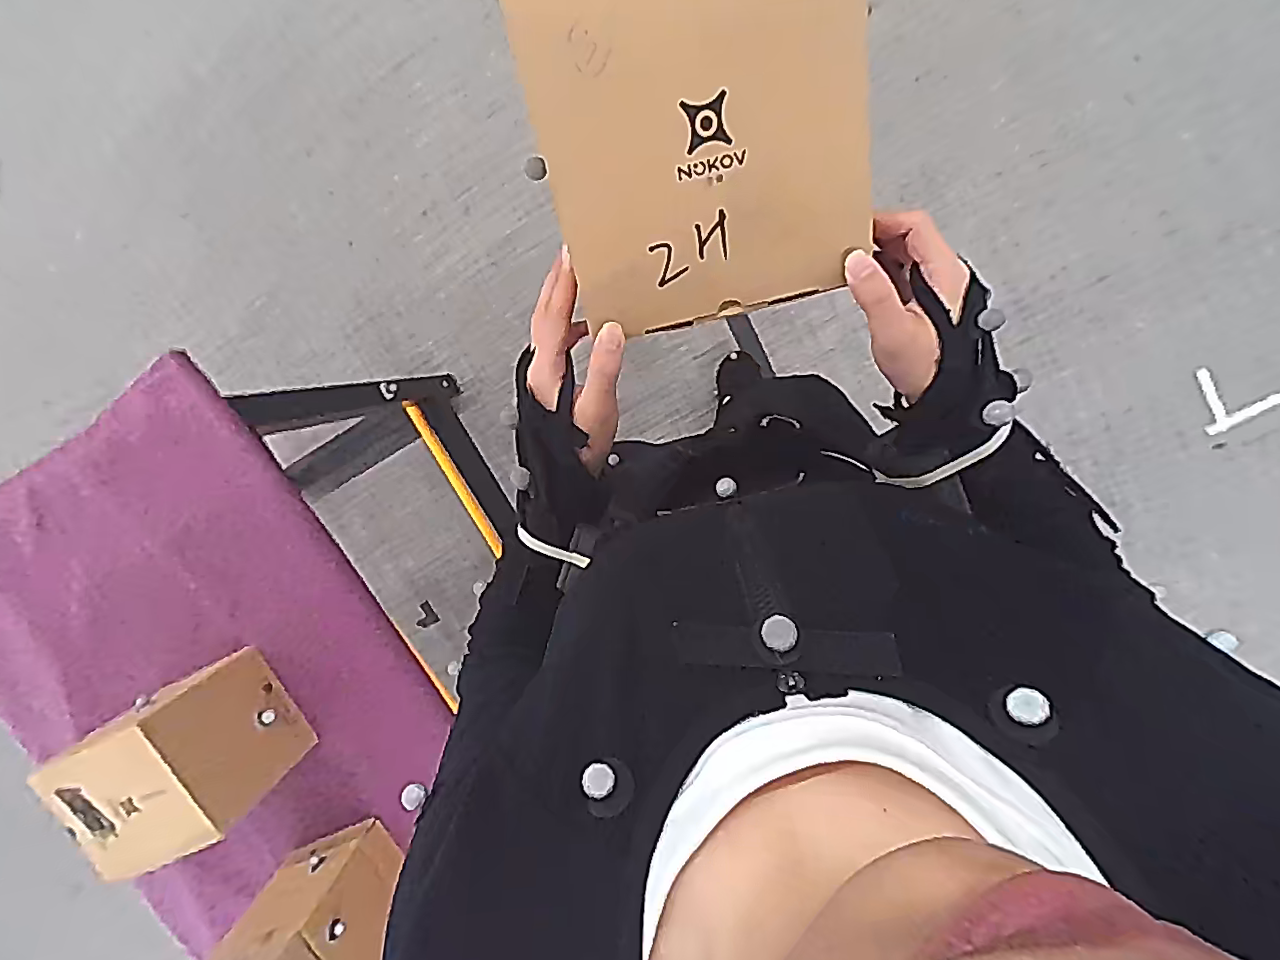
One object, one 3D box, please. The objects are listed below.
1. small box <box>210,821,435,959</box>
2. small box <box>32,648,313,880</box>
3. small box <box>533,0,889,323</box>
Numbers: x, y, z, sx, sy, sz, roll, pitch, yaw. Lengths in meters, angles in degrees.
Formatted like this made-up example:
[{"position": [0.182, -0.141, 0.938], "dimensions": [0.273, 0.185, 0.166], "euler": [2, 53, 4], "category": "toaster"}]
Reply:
[{"position": [-0.416, 0.617, 0.735], "dimensions": [0.168, 0.176, 0.179], "euler": [-28, 98, 11], "category": "small box"}, {"position": [-0.571, 0.348, 0.687], "dimensions": [0.179, 0.176, 0.168], "euler": [-26, 99, 10], "category": "small box"}, {"position": [0.038, -0.216, 0.342], "dimensions": [0.168, 0.176, 0.179], "euler": [-11, 117, 4], "category": "small box"}]
